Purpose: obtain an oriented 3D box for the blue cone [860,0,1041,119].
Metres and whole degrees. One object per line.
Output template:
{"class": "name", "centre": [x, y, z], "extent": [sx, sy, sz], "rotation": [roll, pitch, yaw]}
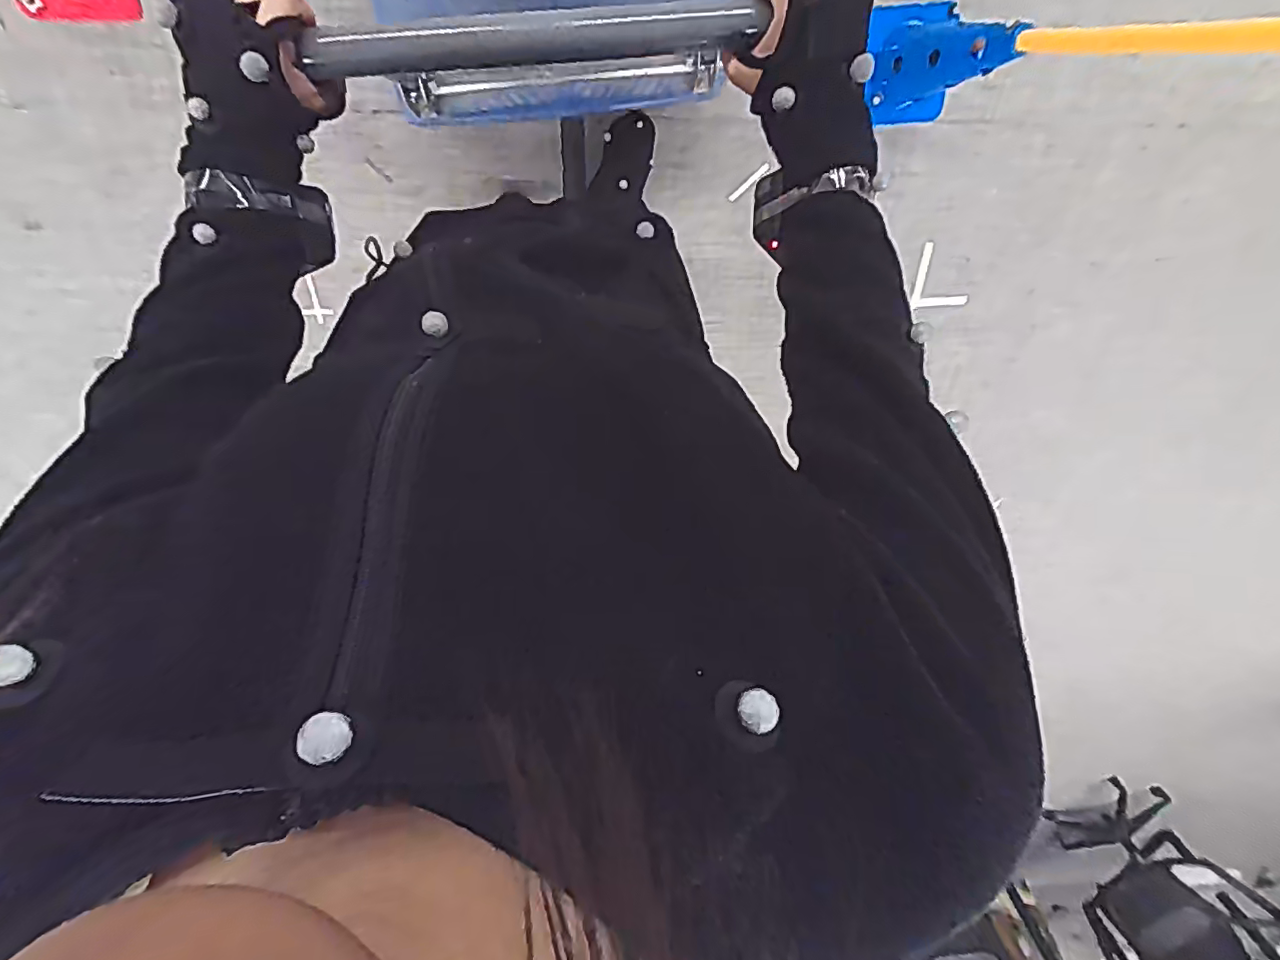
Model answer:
{"class": "blue cone", "centre": [0.567, -0.777, 0.974], "extent": [0.193, 0.380, 0.192], "rotation": [-5, 122, -4]}
